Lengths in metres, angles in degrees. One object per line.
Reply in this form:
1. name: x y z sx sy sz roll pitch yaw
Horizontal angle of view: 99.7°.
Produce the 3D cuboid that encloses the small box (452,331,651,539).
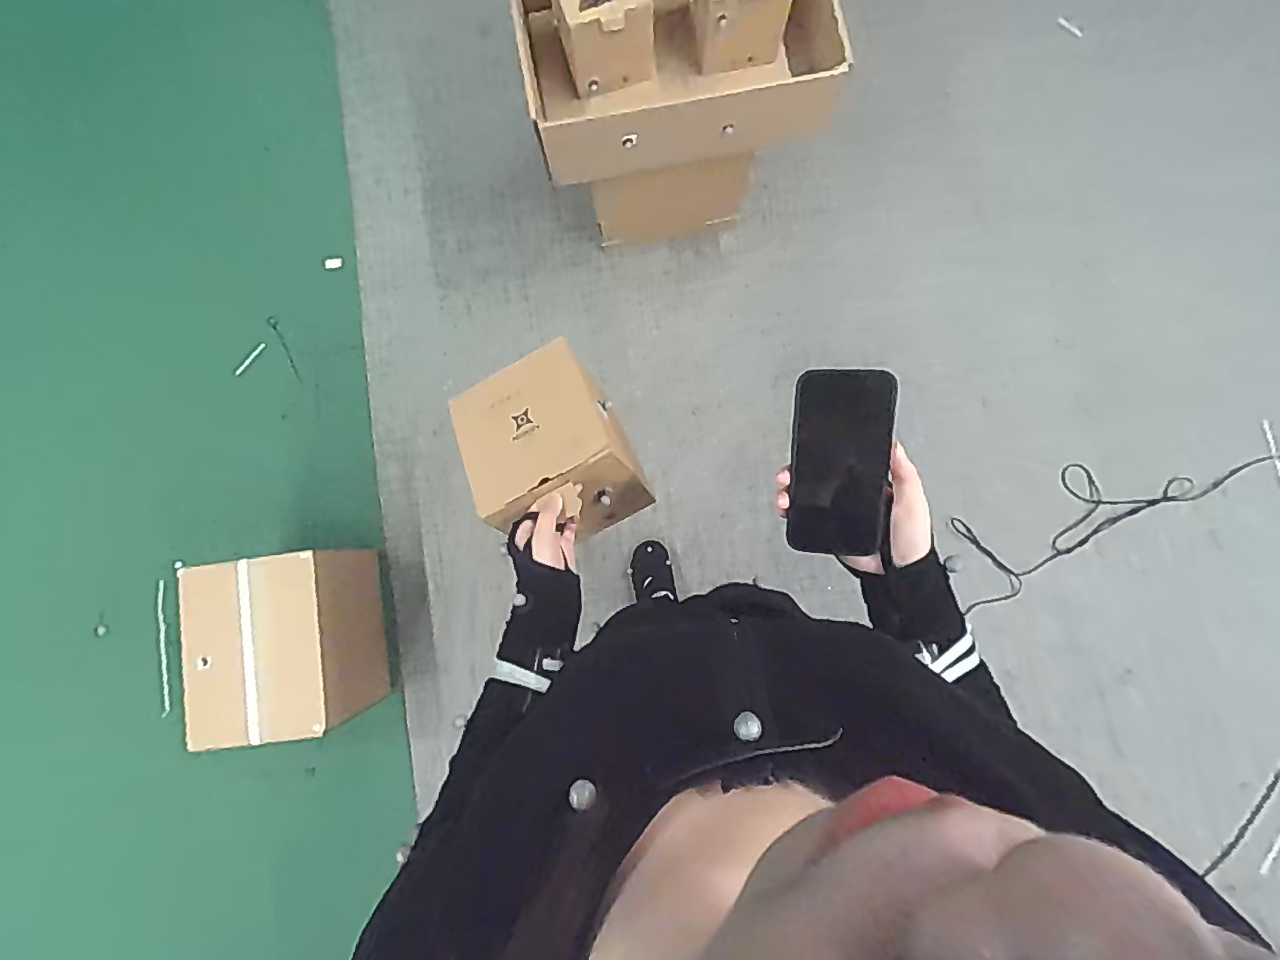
1. small box: -0.104 -0.042 0.677 0.168 0.176 0.179 -26 61 6
